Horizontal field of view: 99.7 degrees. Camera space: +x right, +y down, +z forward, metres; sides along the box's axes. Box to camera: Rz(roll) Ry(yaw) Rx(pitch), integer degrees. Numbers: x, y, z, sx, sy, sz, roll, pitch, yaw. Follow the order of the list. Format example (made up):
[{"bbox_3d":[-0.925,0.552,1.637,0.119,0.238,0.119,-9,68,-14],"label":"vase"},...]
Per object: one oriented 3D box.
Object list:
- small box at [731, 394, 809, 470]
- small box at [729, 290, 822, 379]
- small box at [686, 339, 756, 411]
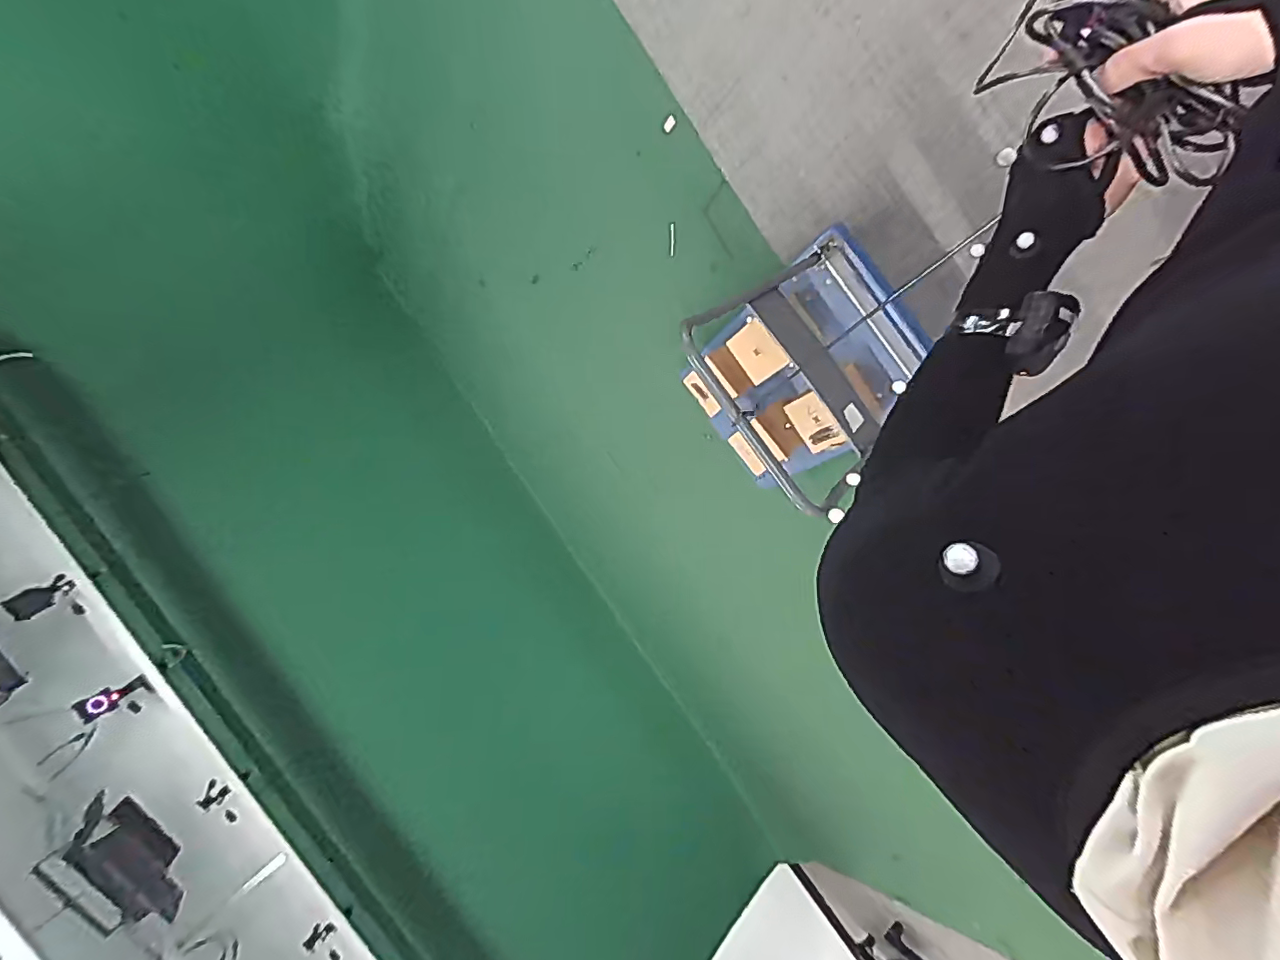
[{"bbox_3d":[0.453,-0.166,1.855,0.168,0.176,0.179,52,150,3],"label":"small box"},{"bbox_3d":[0.410,-0.439,1.635,0.168,0.176,0.179,54,149,-2],"label":"small box"},{"bbox_3d":[0.296,-0.370,1.862,0.168,0.176,0.179,52,149,1],"label":"small box"}]
